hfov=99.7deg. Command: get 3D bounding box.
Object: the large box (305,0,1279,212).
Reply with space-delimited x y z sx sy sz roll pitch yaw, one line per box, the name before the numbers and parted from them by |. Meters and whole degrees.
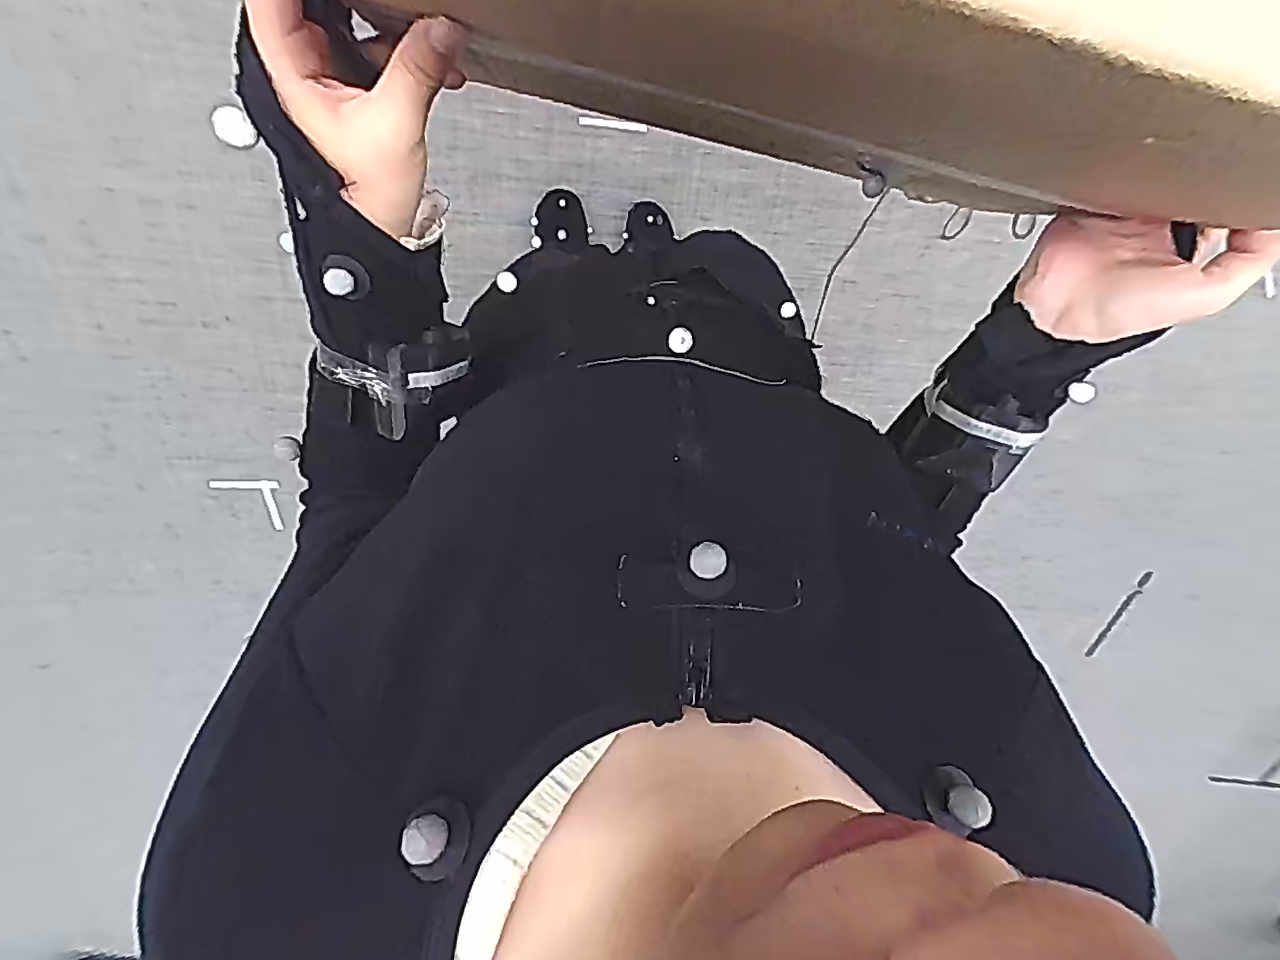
large box | 0.088 -0.299 0.174 0.408 0.320 0.320 6 118 -10
